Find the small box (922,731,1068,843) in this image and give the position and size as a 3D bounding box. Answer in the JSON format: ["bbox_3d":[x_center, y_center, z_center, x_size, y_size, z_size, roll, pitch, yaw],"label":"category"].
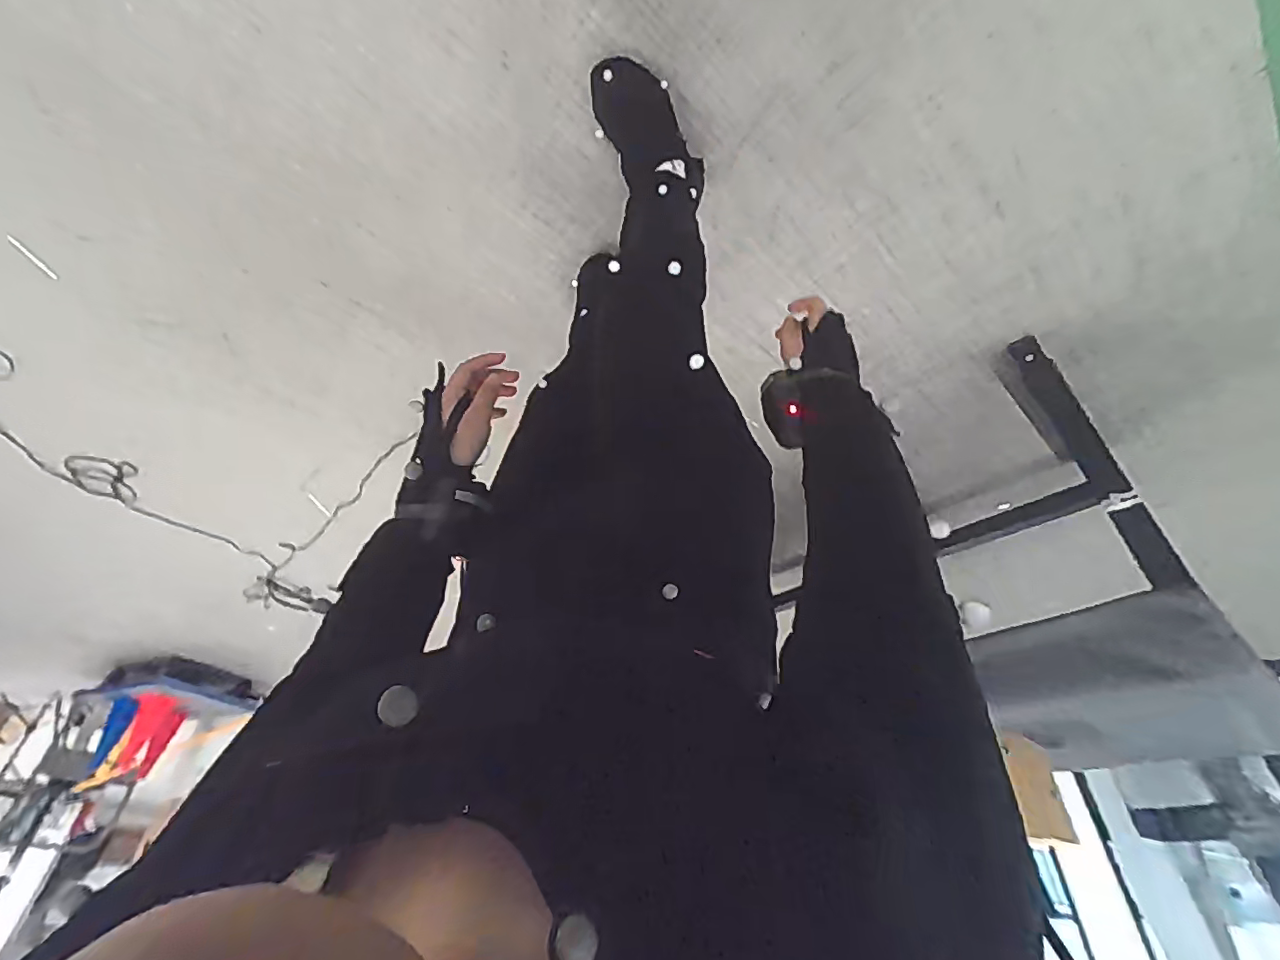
[{"bbox_3d":[0.677,0.593,1.045,0.168,0.176,0.179,-30,134,35],"label":"small box"}]
